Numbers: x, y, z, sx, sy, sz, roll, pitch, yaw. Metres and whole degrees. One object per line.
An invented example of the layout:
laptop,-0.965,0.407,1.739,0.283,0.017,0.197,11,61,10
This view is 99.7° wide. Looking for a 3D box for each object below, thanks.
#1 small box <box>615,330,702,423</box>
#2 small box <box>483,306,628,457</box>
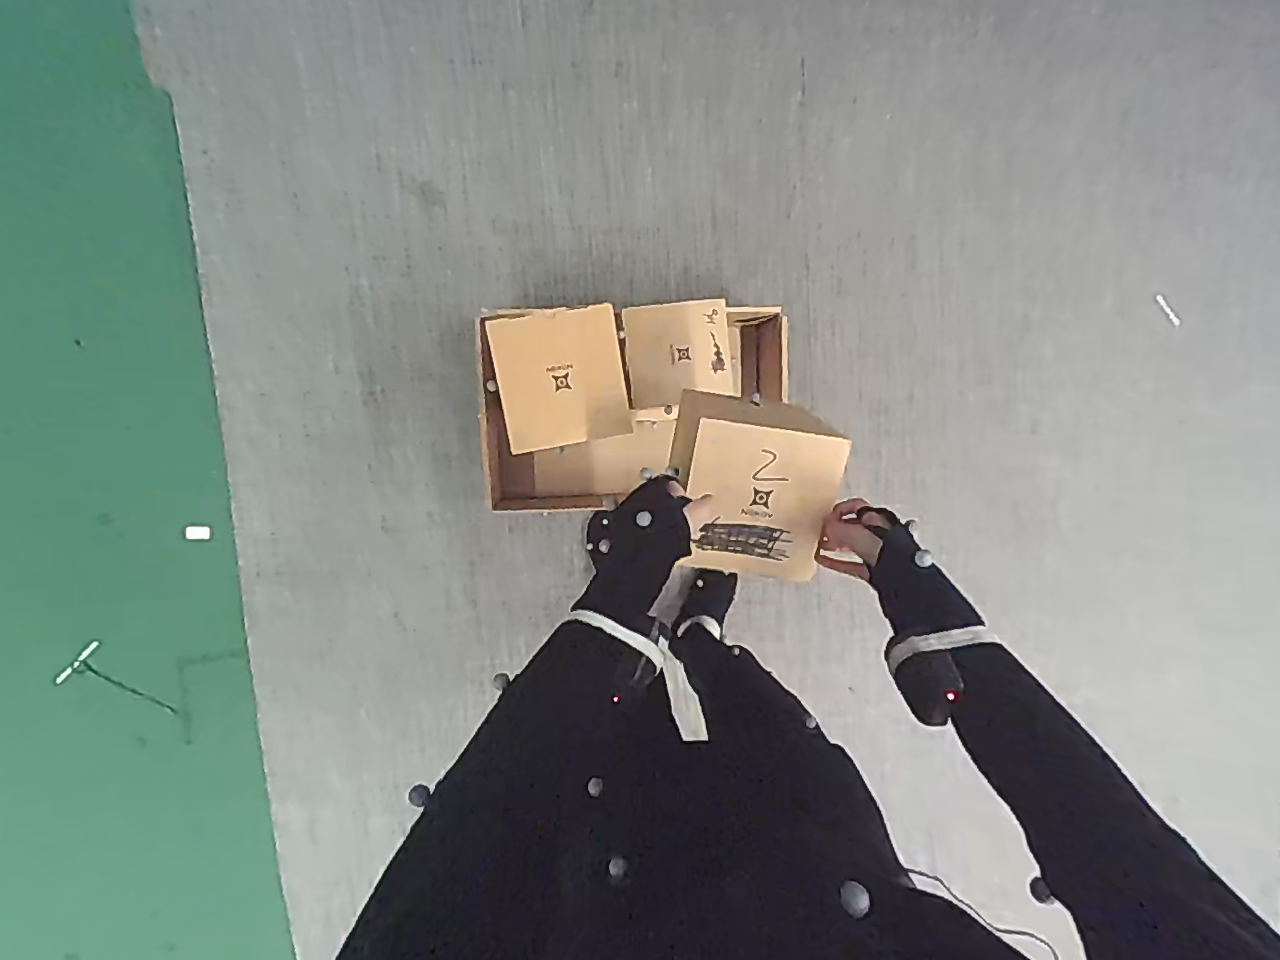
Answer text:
small box,0.033,-0.208,1.123,0.168,0.176,0.179,-3,97,-4
small box,-0.115,-0.138,0.784,0.168,0.176,0.179,-11,98,-5
